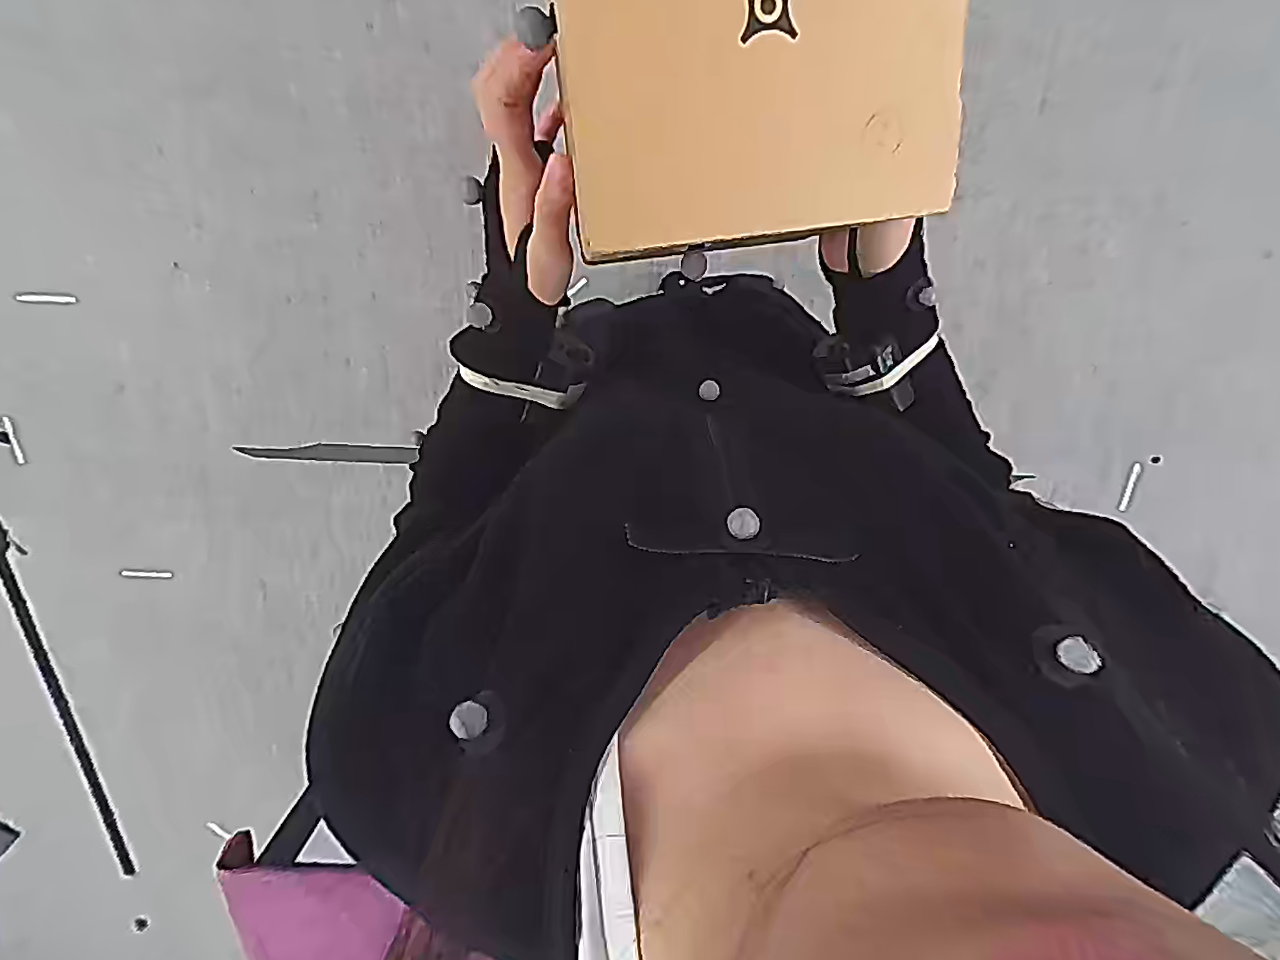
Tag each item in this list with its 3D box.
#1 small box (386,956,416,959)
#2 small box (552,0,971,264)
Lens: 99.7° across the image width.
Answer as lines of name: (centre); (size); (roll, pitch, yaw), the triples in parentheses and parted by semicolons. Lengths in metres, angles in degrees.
small box: (-0.447, 1.078, 1.045); (0.168, 0.176, 0.179); (7, 109, -2)
small box: (0.042, -0.213, 0.284); (0.168, 0.176, 0.179); (-8, 110, -3)
